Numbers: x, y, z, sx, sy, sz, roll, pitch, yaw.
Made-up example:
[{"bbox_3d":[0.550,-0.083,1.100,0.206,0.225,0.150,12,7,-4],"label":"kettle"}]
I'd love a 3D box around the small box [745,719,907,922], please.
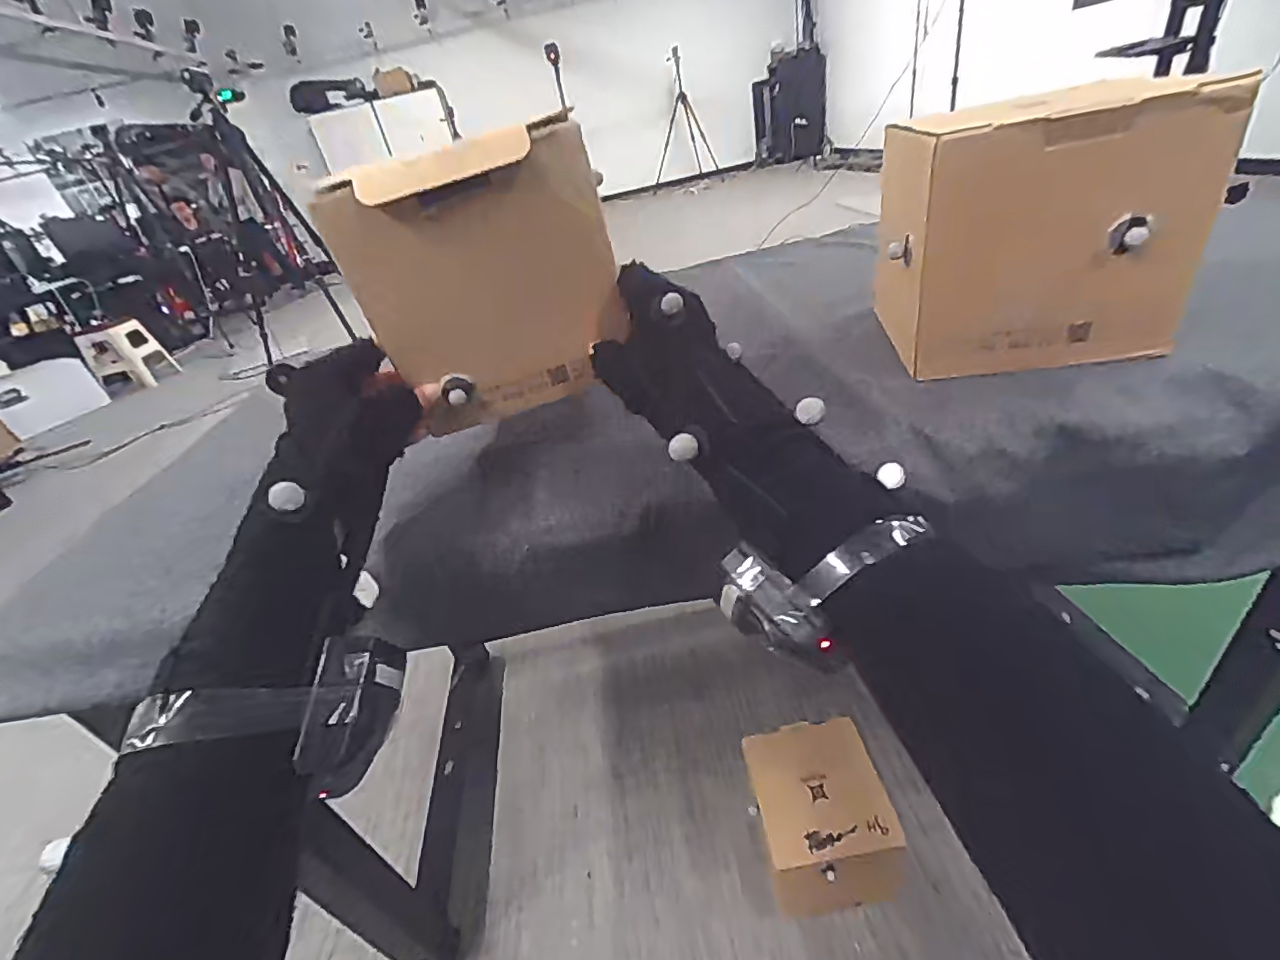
[{"bbox_3d":[0.254,0.479,0.769,0.168,0.176,0.179,-13,31,2],"label":"small box"}]

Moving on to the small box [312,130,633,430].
[{"bbox_3d":[-0.113,-0.157,0.432,0.168,0.176,0.179,-18,35,-1],"label":"small box"}]

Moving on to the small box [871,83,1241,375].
[{"bbox_3d":[0.285,-0.189,0.427,0.168,0.176,0.179,-3,32,14],"label":"small box"}]
